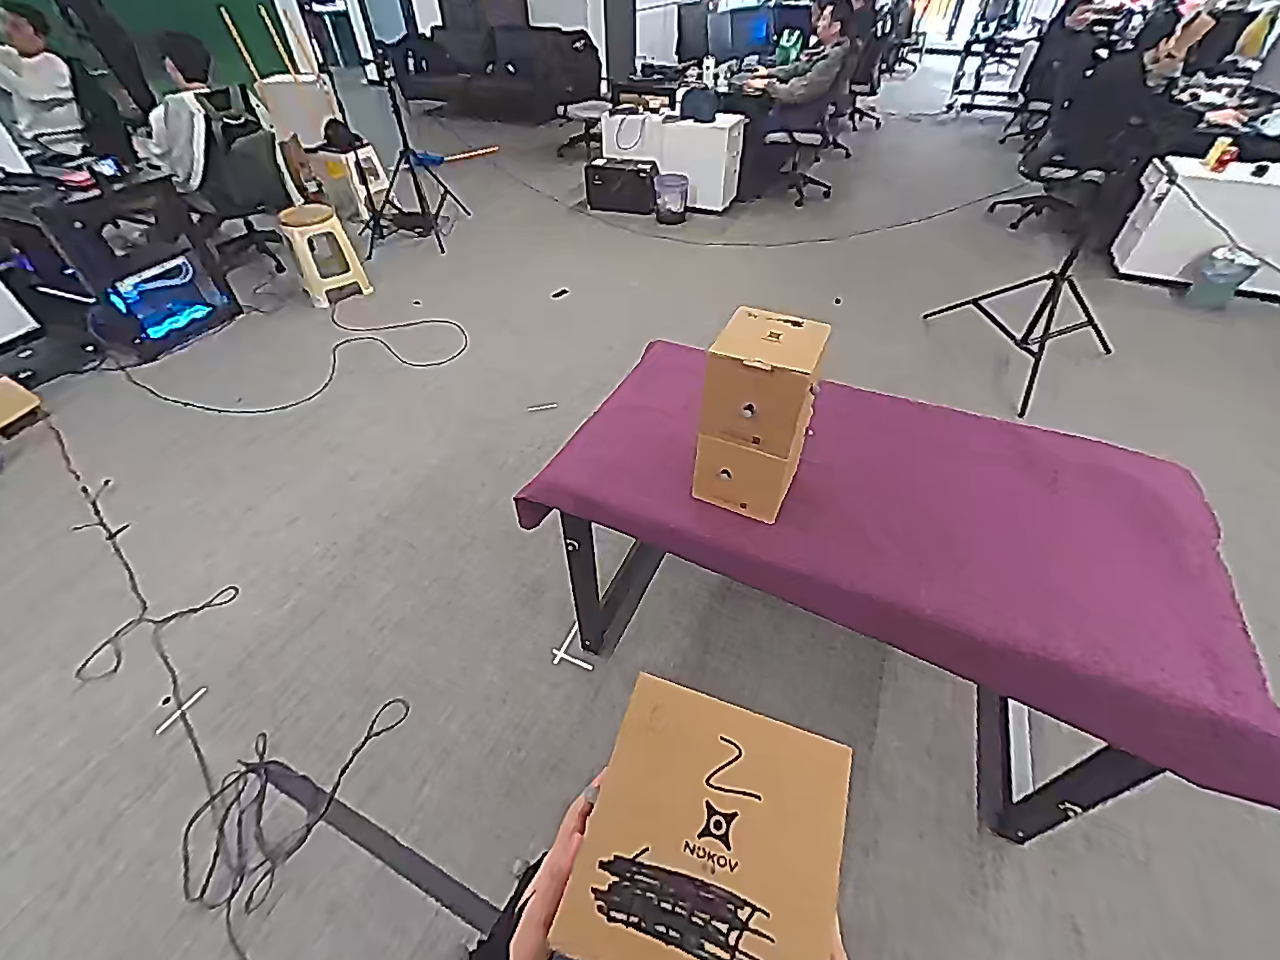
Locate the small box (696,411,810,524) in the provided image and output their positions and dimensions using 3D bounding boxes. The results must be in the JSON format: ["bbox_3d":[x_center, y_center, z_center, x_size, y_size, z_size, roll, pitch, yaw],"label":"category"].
[{"bbox_3d":[0.215,-0.042,1.054,0.168,0.176,0.179,19,47,18],"label":"small box"}]

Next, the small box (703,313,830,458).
[{"bbox_3d":[0.215,-0.164,0.944,0.168,0.176,0.179,18,47,17],"label":"small box"}]
